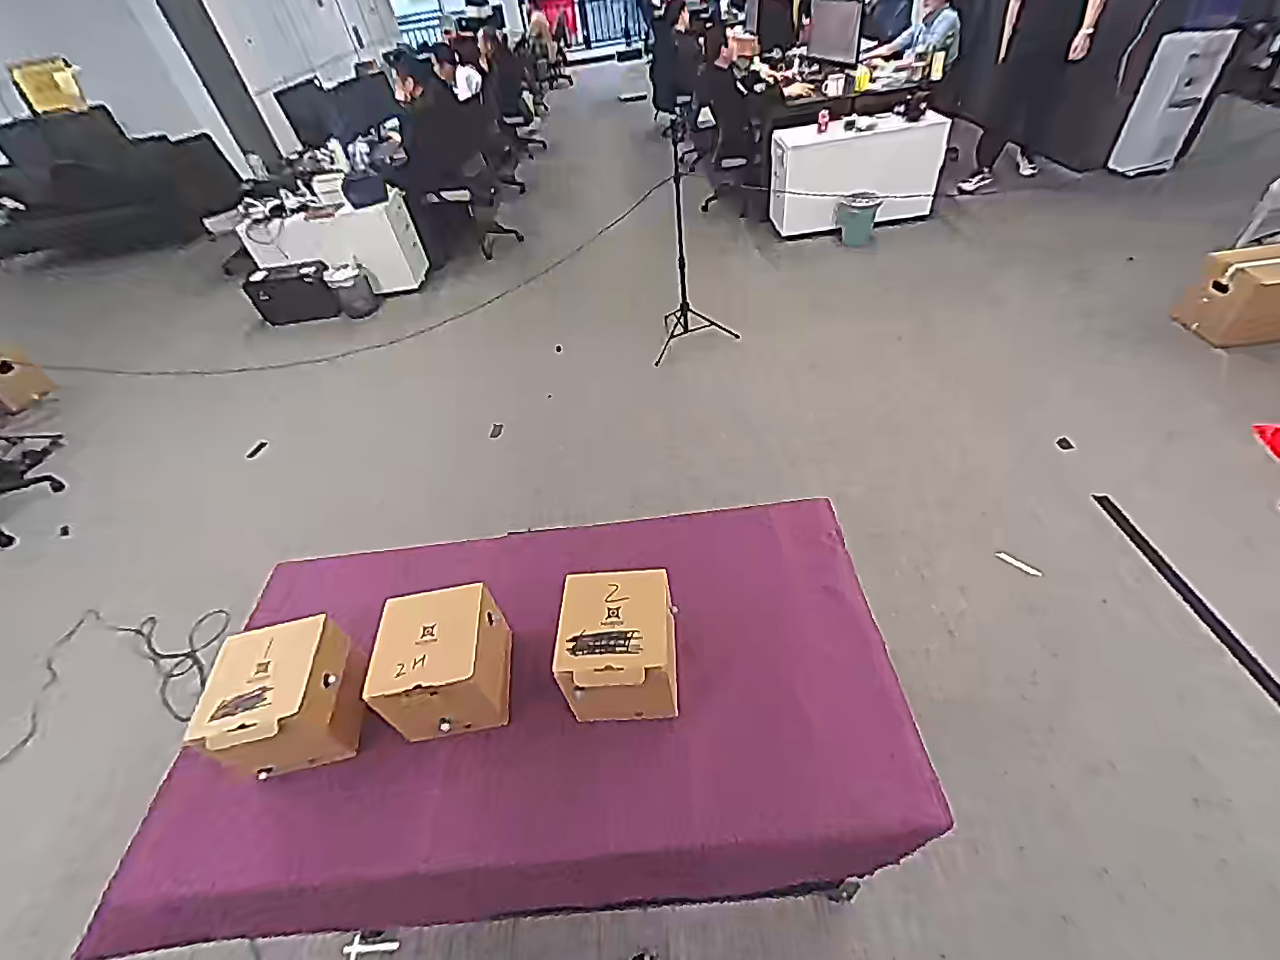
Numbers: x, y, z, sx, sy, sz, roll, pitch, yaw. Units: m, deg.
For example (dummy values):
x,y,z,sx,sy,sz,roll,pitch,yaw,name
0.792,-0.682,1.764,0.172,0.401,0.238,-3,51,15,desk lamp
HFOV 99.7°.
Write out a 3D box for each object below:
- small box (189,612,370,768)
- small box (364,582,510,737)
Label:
x,y,z,sx,sy,sz,roll,pitch,yaw,name
-0.572,0.351,0.890,0.168,0.176,0.179,-12,43,-3,small box
-0.321,0.298,0.899,0.168,0.176,0.179,-10,44,0,small box
